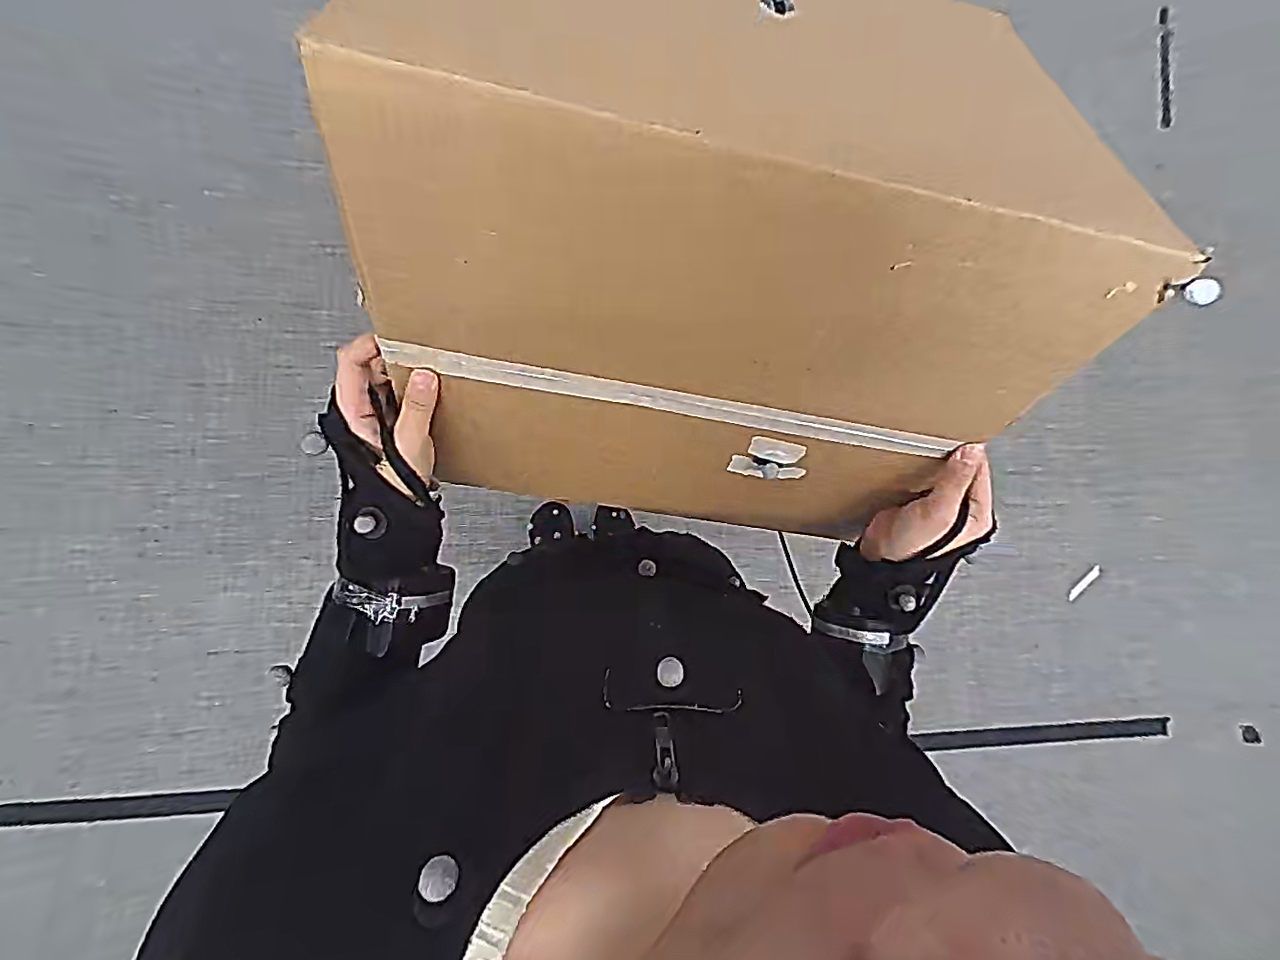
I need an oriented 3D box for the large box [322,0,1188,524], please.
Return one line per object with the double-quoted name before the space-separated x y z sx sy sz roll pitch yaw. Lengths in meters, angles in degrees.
"large box" 0.047 -0.187 0.438 0.408 0.320 0.320 7 58 -8
